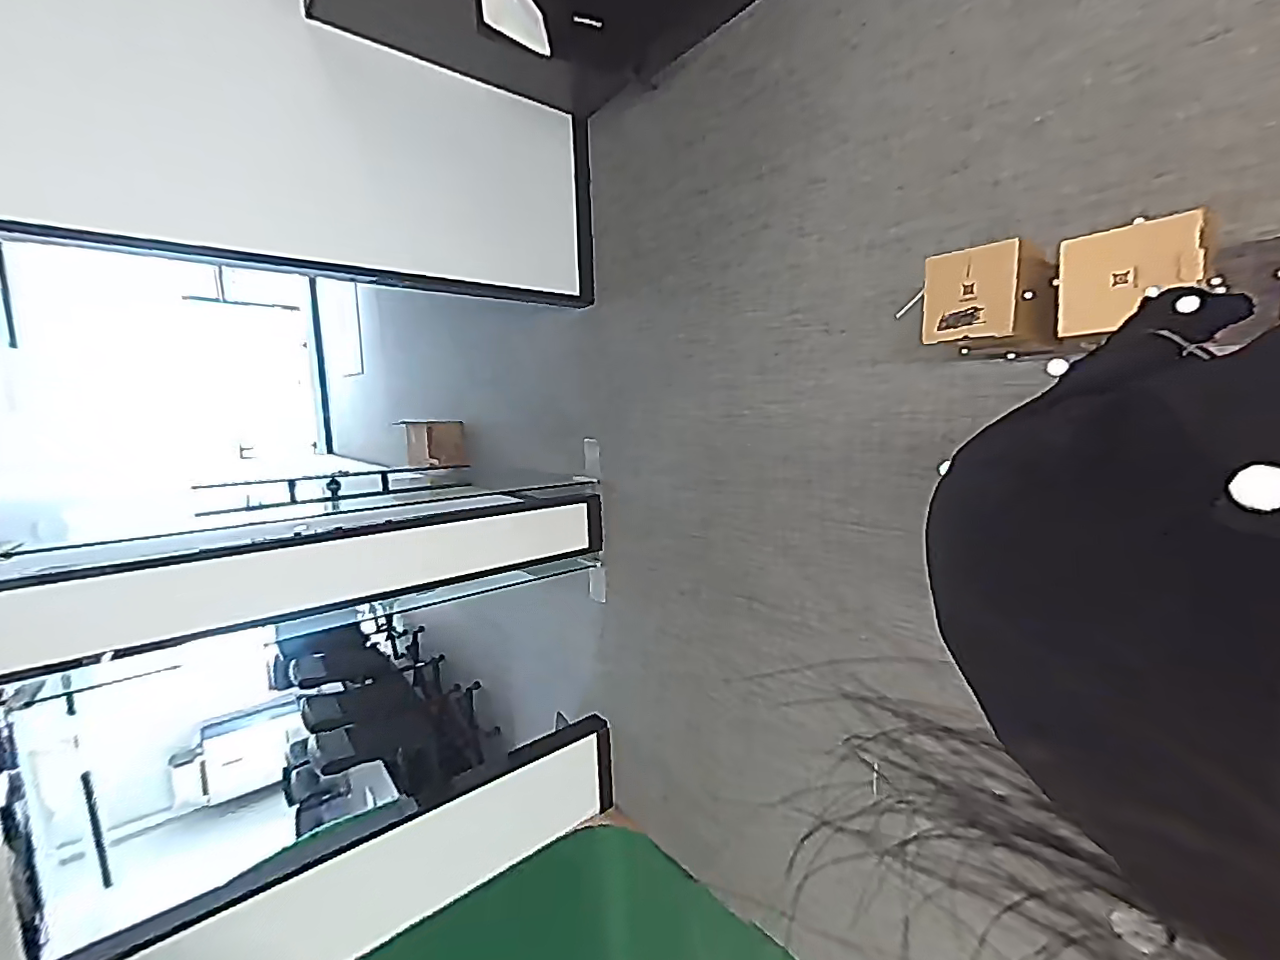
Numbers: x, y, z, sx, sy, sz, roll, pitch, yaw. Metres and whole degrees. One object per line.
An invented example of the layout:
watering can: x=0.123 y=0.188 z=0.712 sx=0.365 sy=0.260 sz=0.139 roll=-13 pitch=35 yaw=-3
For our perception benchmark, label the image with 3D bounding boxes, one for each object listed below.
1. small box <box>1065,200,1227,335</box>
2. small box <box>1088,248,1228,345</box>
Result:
small box: x=0.858 y=-0.345 z=0.920 sx=0.179 sy=0.176 sz=0.168 roll=4 pitch=99 yaw=51
small box: x=0.981 y=-0.358 z=1.024 sx=0.168 sy=0.176 sz=0.179 roll=6 pitch=100 yaw=52
